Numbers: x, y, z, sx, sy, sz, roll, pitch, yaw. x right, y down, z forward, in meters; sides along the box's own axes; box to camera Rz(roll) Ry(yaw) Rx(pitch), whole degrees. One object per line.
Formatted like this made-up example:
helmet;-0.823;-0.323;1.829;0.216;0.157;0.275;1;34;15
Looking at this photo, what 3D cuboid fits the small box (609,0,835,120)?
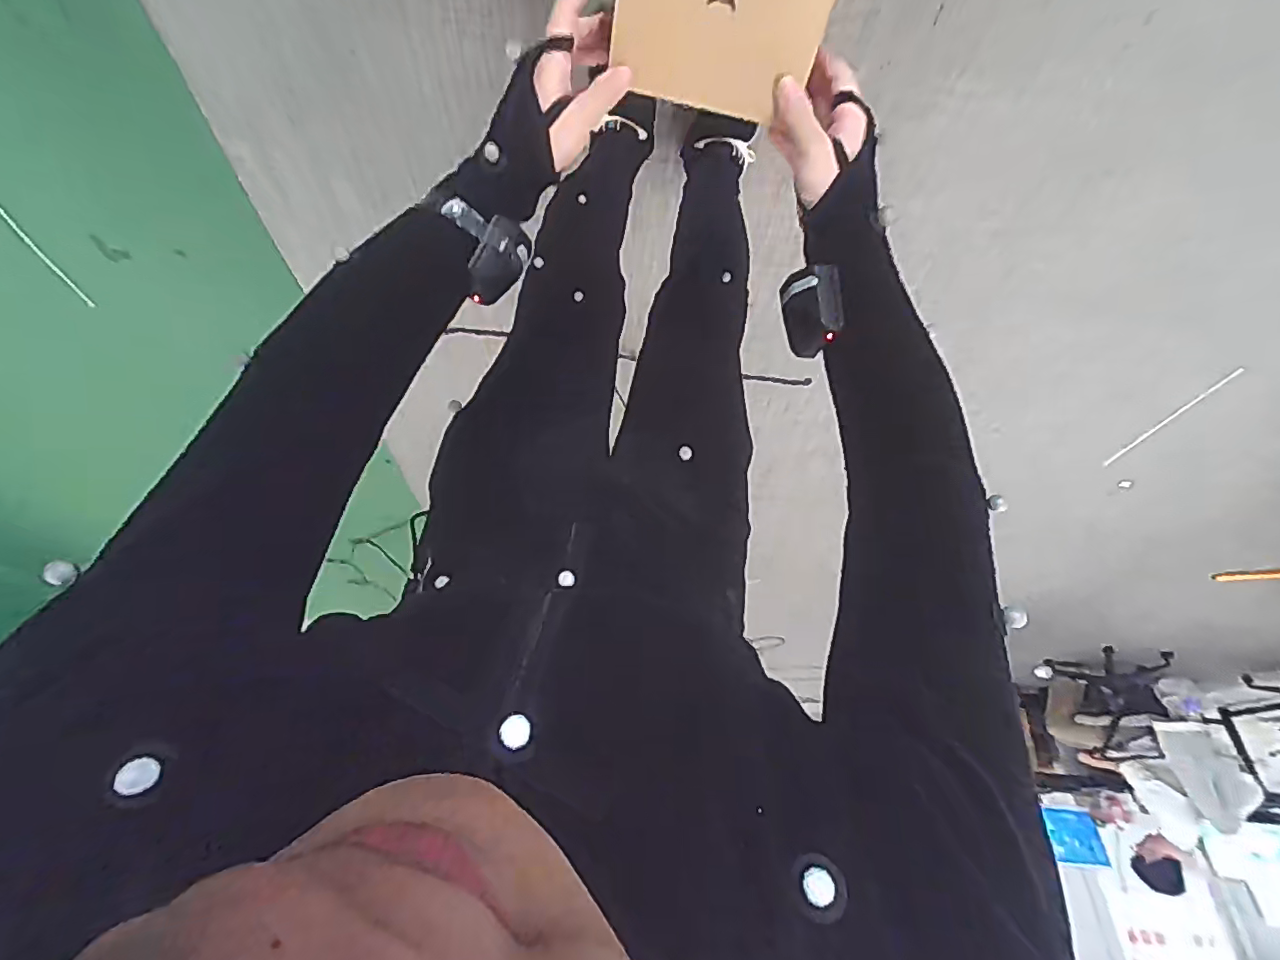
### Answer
small box;0.077;-0.442;0.449;0.168;0.176;0.179;11;138;-5
